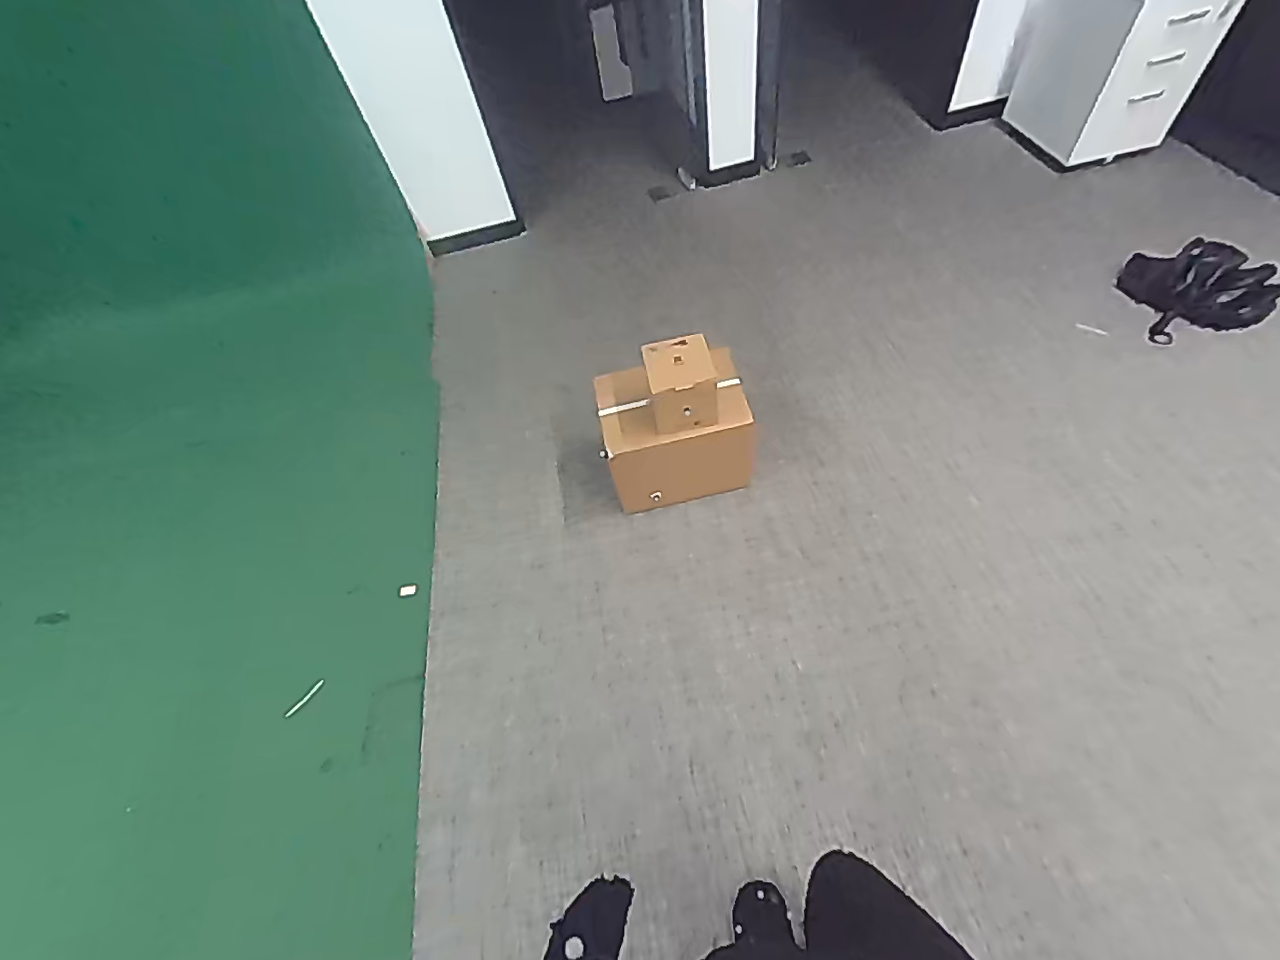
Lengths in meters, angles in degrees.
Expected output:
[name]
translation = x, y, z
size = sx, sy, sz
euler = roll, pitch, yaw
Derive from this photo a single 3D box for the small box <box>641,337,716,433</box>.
[small box]
translation = 0.104, -0.241, 1.421
size = 0.168, 0.176, 0.179
euler = -11, 56, 2
